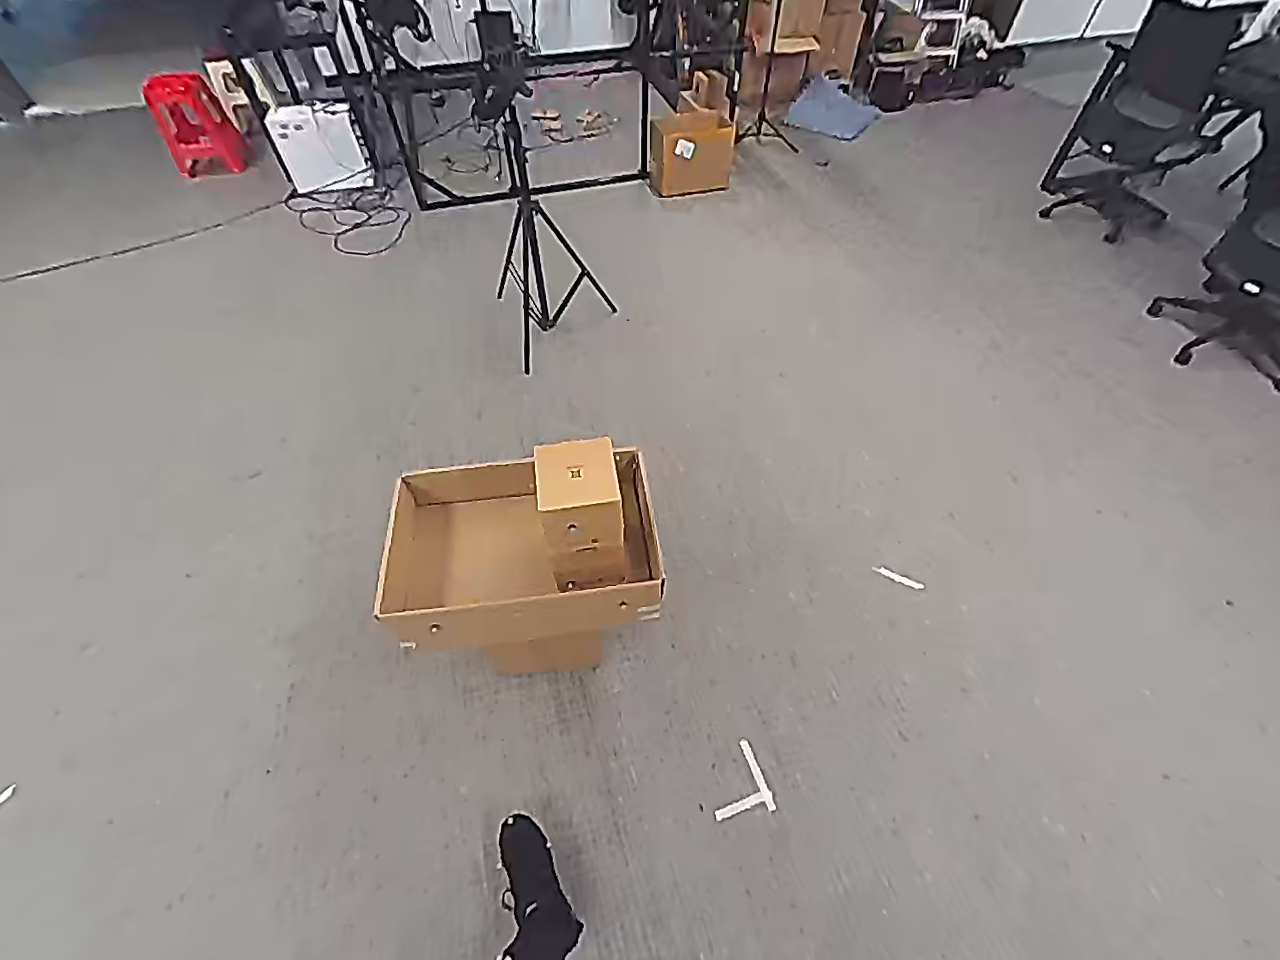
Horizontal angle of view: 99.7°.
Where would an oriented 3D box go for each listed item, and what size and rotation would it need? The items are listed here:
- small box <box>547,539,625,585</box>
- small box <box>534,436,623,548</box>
[{"bbox_3d":[-0.130,0.135,1.285,0.168,0.176,0.179,-8,51,-6],"label":"small box"},{"bbox_3d":[-0.130,0.033,1.158,0.168,0.176,0.179,-8,51,-6],"label":"small box"}]
